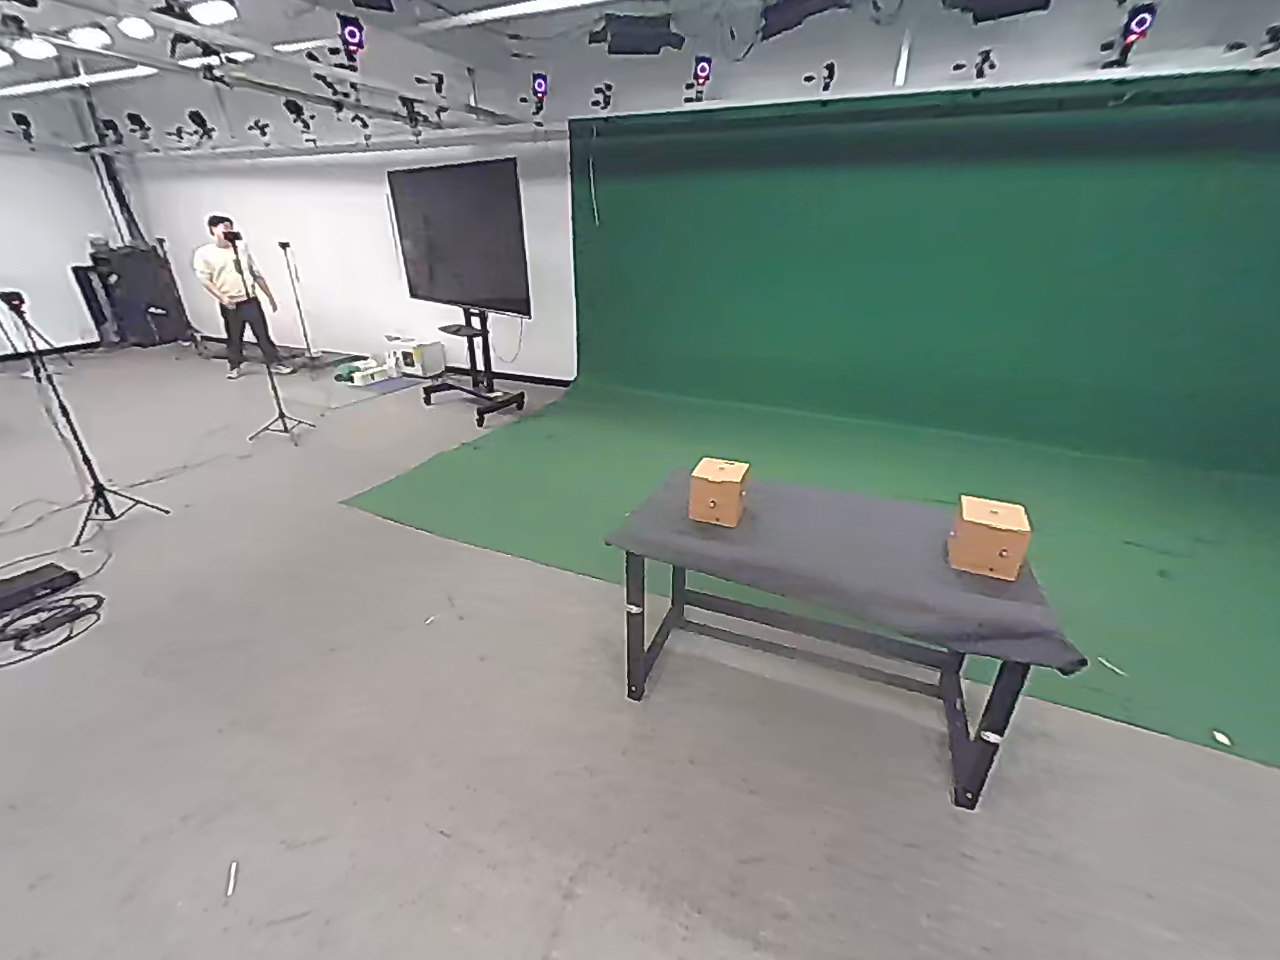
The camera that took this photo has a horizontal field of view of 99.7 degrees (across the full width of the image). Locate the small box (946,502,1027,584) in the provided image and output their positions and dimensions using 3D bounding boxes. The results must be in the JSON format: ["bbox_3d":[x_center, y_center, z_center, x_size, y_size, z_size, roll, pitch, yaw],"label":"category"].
[{"bbox_3d":[1.024,0.187,1.610,0.168,0.176,0.179,12,26,23],"label":"small box"}]

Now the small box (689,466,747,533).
[{"bbox_3d":[0.271,0.067,1.880,0.168,0.176,0.179,10,26,19],"label":"small box"}]
